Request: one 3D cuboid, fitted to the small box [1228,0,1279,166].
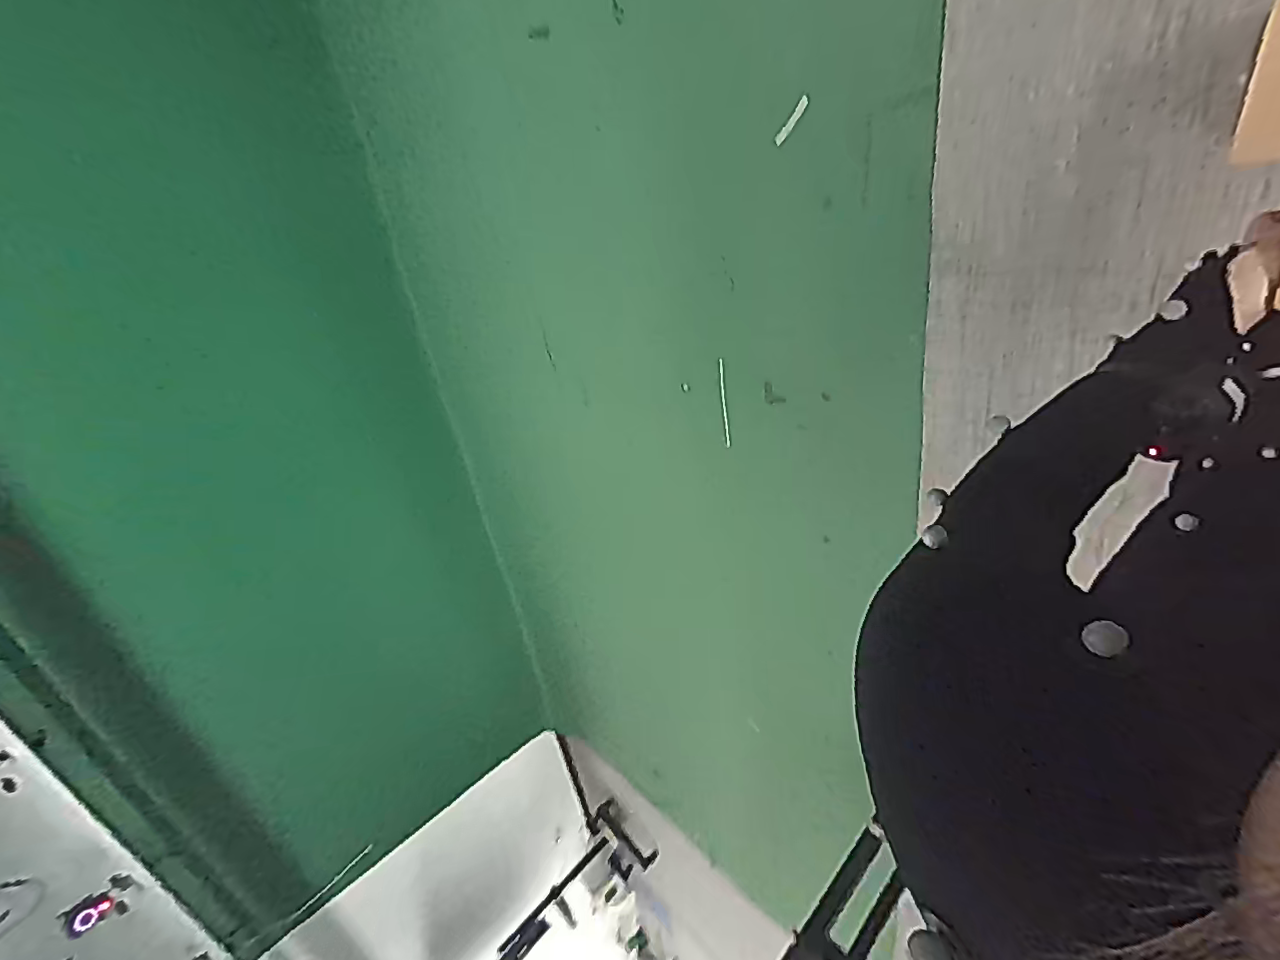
[{"bbox_3d":[0.826,-0.477,0.618,0.168,0.176,0.179,20,130,46],"label":"small box"}]
